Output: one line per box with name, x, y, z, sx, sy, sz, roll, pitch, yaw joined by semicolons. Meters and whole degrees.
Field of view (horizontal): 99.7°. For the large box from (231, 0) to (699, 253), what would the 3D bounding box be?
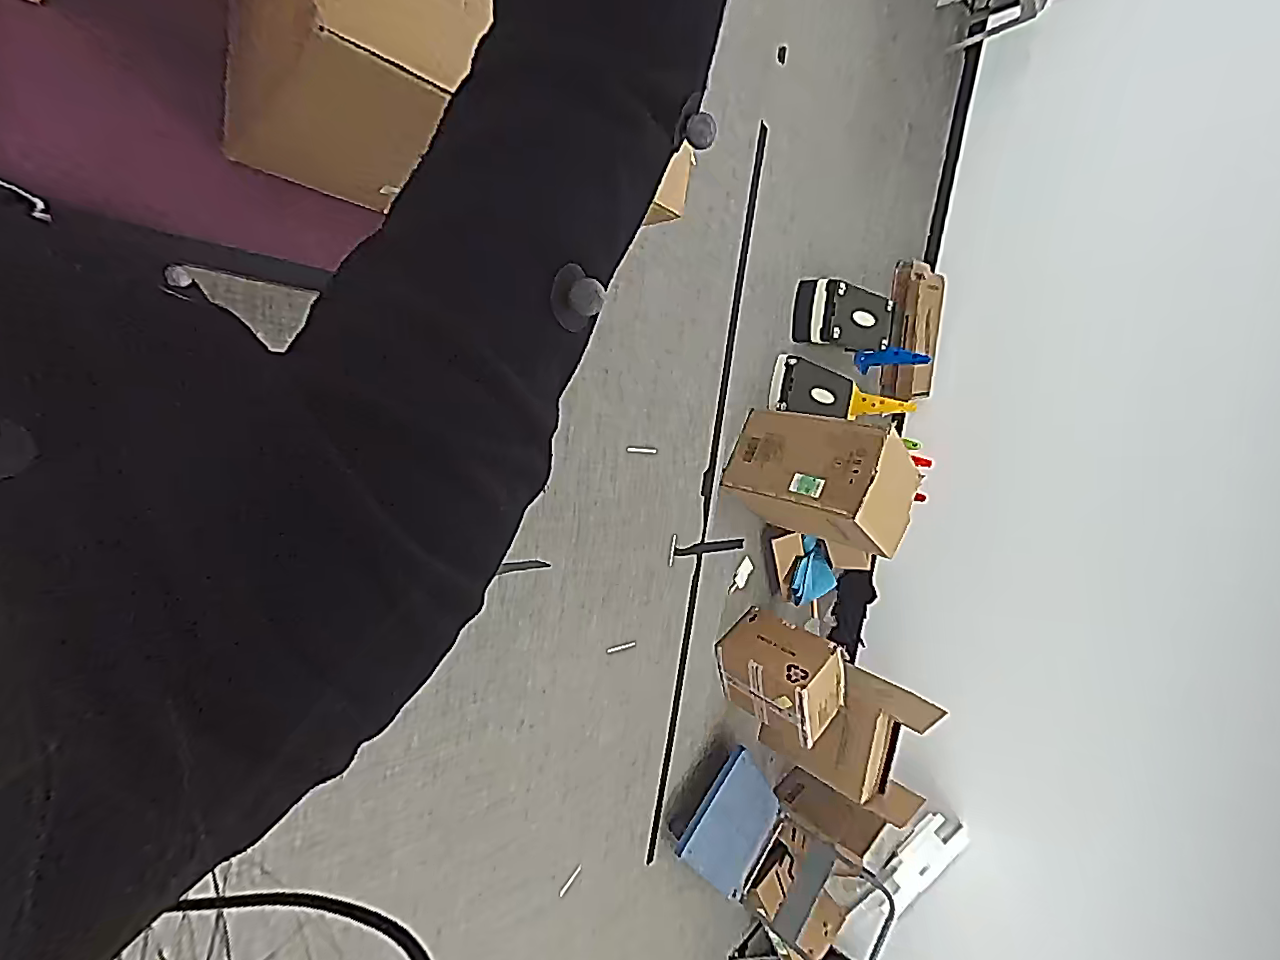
large box;-0.156;-0.467;0.488;0.320;0.320;0.408;0;100;-46
